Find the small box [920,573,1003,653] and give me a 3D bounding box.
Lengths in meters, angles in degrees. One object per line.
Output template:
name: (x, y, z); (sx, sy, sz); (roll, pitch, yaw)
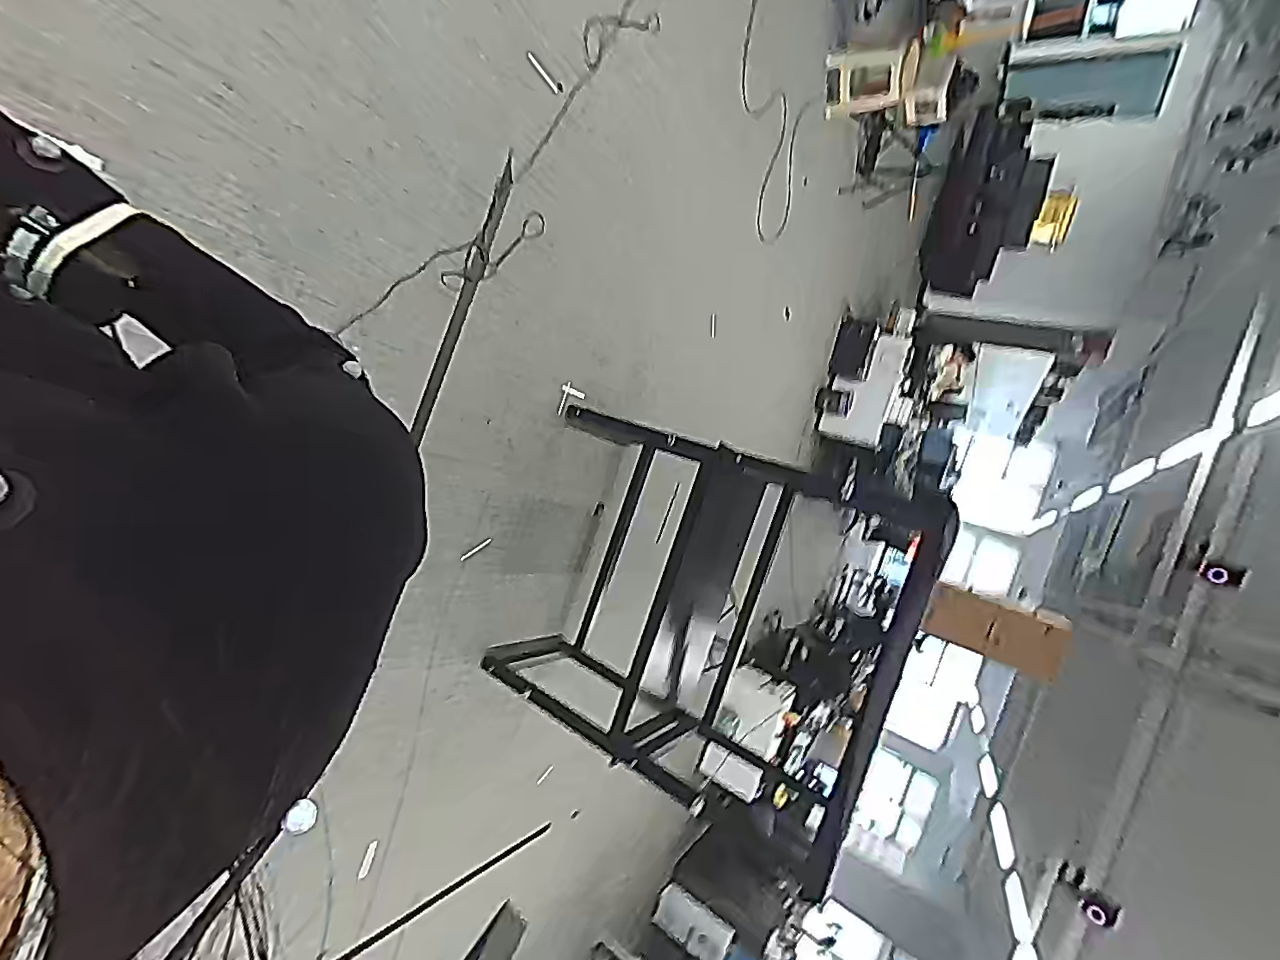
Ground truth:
small box: (0.933, 0.382, 1.584); (0.179, 0.176, 0.168); (11, 99, -61)
